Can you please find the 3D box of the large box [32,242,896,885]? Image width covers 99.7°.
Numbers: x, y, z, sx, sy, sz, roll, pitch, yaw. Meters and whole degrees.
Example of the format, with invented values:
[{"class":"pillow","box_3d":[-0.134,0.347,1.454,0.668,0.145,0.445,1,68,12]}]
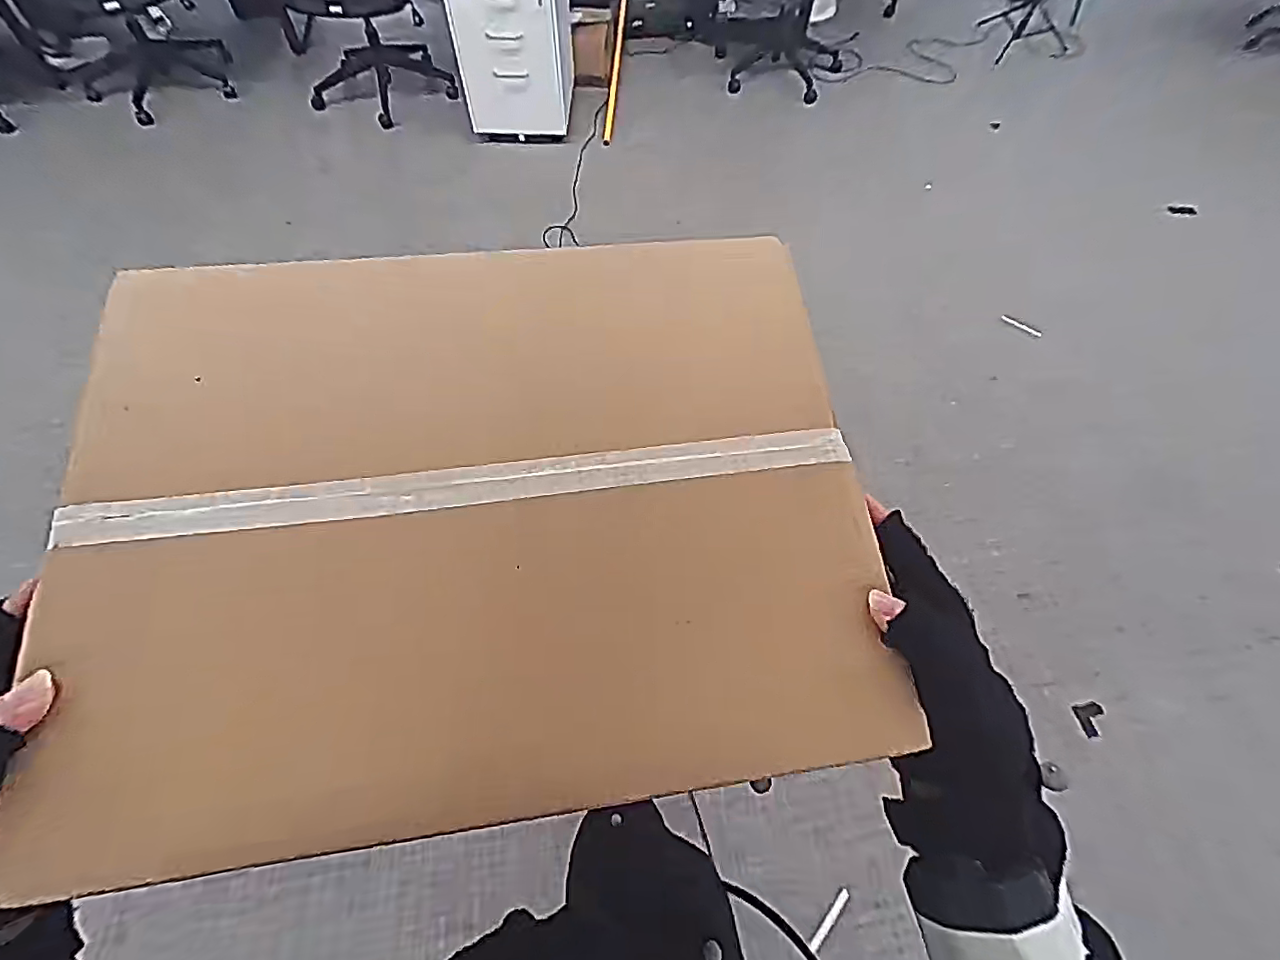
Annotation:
[{"class":"large box","box_3d":[-0.094,0.053,0.437,0.408,0.320,0.320,-6,70,-6]}]
